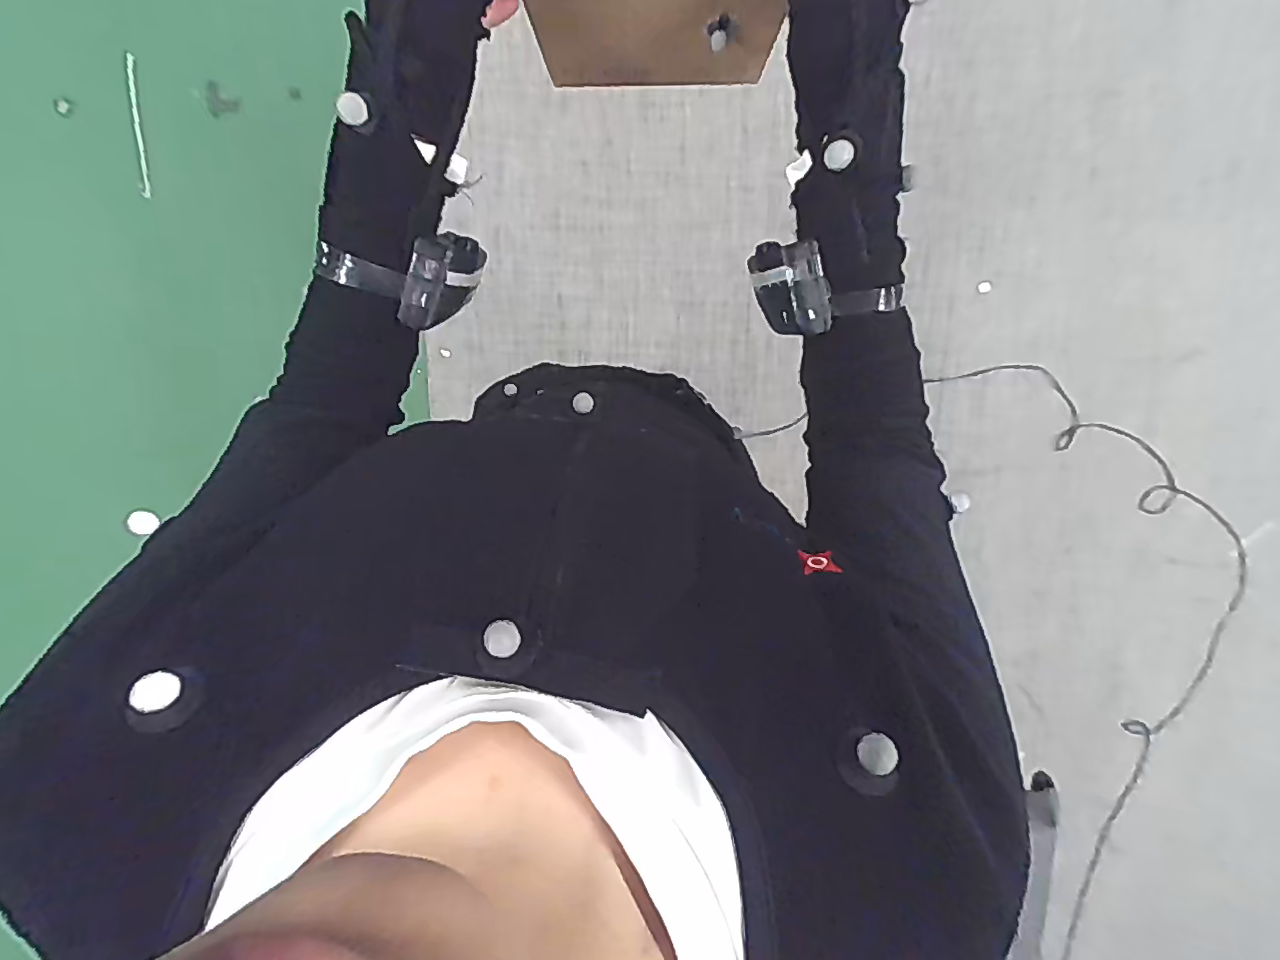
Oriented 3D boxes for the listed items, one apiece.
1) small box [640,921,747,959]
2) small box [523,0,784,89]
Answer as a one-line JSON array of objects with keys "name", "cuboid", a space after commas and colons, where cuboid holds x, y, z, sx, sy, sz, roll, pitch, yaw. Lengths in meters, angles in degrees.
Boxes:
[{"name": "small box", "cuboid": [0.081, 0.805, 0.807, 0.168, 0.176, 0.179, 1, 102, 1]}, {"name": "small box", "cuboid": [0.011, -0.393, 0.361, 0.179, 0.176, 0.168, -1, 102, 3]}]
